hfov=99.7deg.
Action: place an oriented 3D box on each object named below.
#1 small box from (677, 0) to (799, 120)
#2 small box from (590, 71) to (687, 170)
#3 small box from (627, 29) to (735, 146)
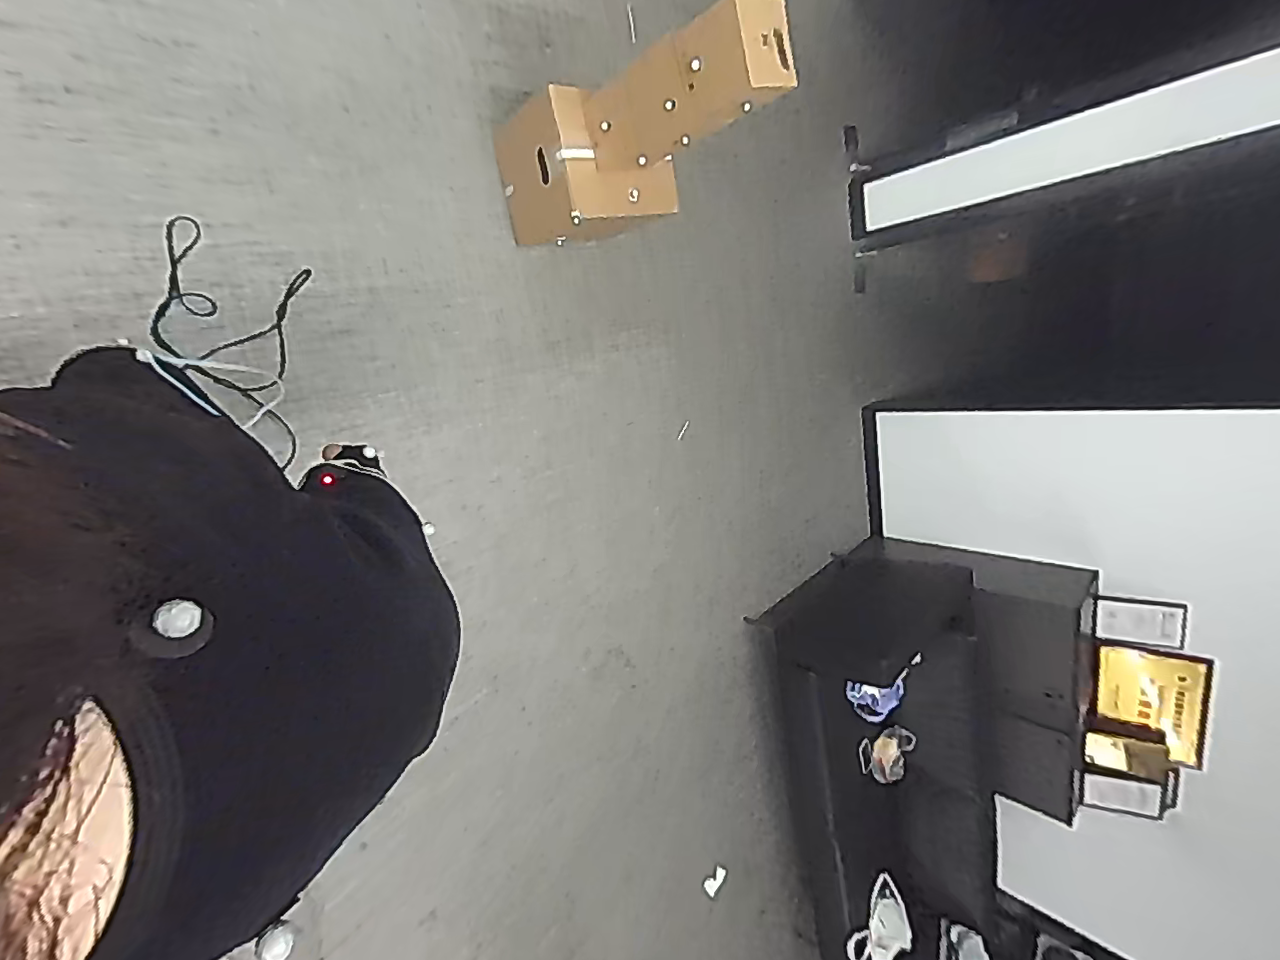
[{"bbox_3d":[0.208,-0.897,1.154,0.179,0.176,0.168,-31,113,-34],"label":"small box"},{"bbox_3d":[-0.010,-0.922,1.400,0.179,0.176,0.168,-28,112,-35],"label":"small box"},{"bbox_3d":[0.096,-0.910,1.273,0.168,0.176,0.179,-29,112,-36],"label":"small box"}]
